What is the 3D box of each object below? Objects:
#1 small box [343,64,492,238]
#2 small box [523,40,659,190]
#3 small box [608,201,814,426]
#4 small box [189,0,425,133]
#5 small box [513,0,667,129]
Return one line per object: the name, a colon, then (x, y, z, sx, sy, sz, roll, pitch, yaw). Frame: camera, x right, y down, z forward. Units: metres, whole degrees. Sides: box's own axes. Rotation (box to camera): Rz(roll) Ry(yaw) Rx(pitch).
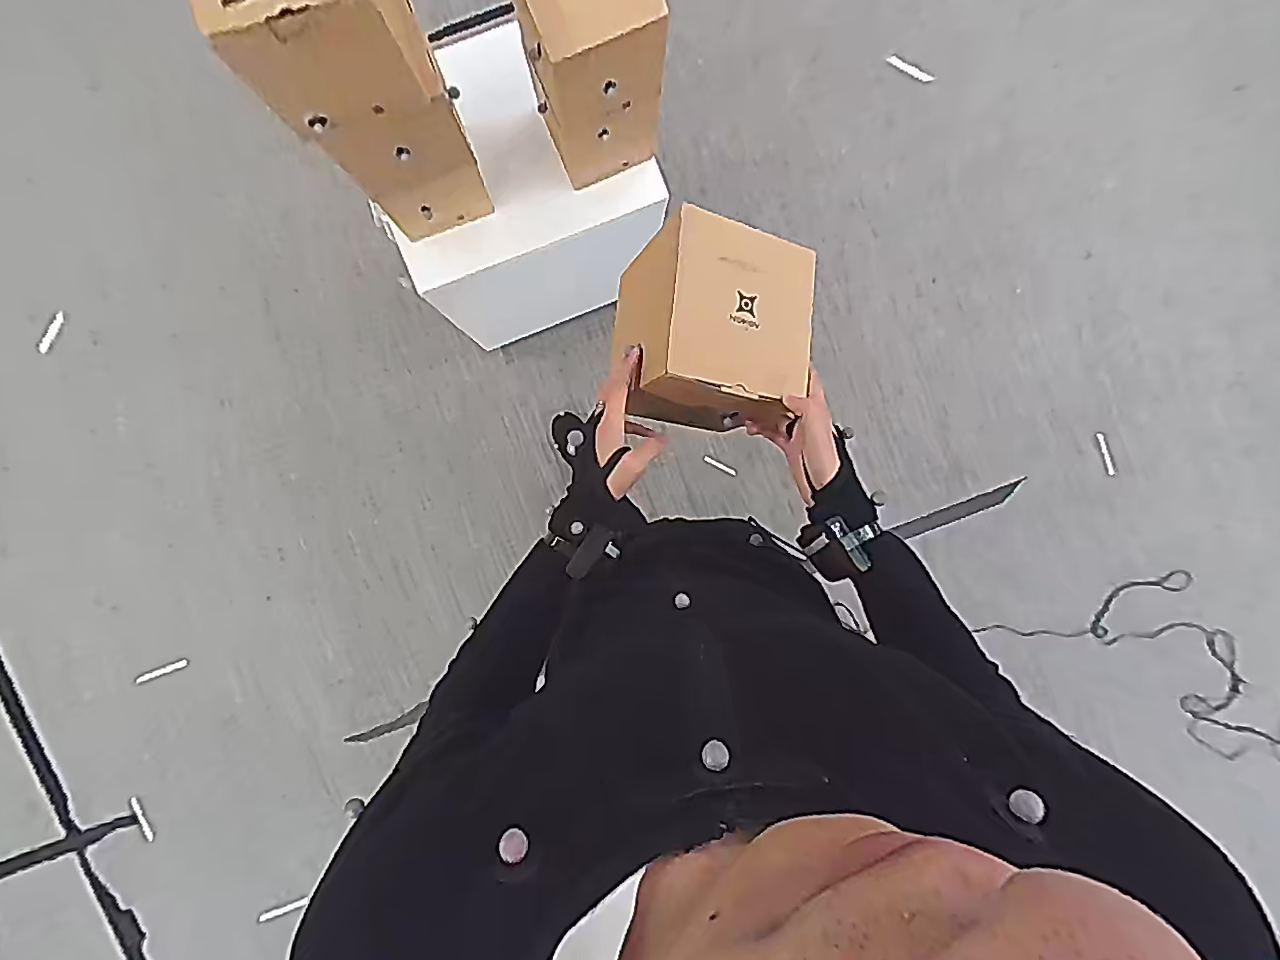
small box: (-0.370, -0.537, 0.915, 0.168, 0.176, 0.179, -21, 93, -2)
small box: (-0.079, -0.640, 0.921, 0.168, 0.176, 0.179, -24, 93, 0)
small box: (0.071, -0.167, 0.612, 0.168, 0.176, 0.179, 8, 82, -23)
small box: (-0.360, -0.515, 0.586, 0.168, 0.176, 0.179, -18, 92, -2)
small box: (-0.073, -0.633, 0.756, 0.168, 0.176, 0.179, -23, 93, -1)
